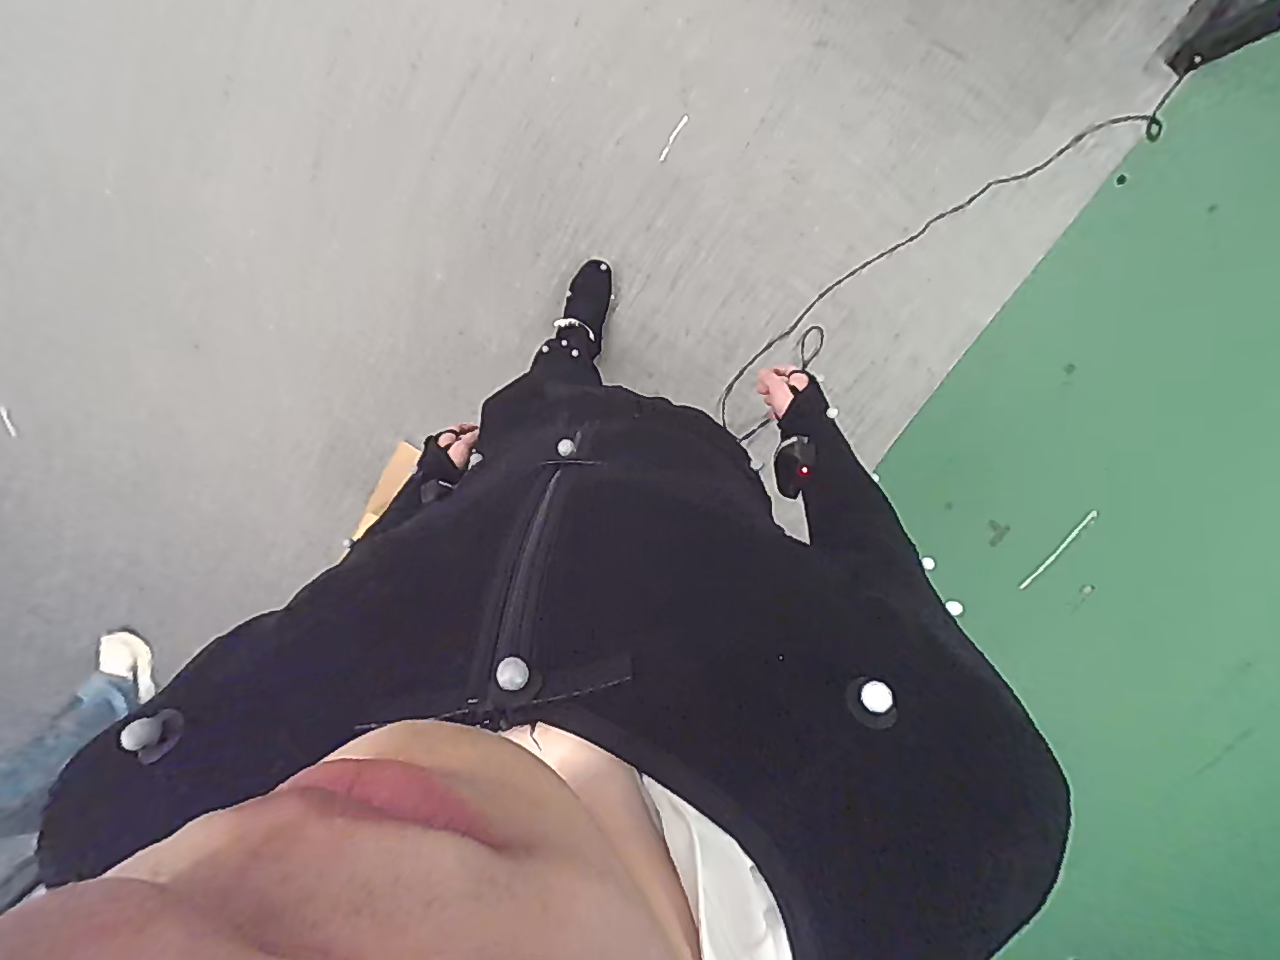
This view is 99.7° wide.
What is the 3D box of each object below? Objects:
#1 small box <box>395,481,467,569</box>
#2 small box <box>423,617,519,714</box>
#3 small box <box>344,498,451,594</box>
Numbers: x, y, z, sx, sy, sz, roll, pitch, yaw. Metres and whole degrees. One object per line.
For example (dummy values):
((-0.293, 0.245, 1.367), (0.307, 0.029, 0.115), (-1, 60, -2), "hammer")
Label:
((-0.644, 0.125, 1.605), (0.179, 0.176, 0.168), (32, 104, -9), "small box")
((-0.476, 0.520, 1.549), (0.179, 0.176, 0.168), (39, 104, -11), "small box")
((-0.641, 0.167, 1.449), (0.179, 0.176, 0.168), (31, 104, -10), "small box")
